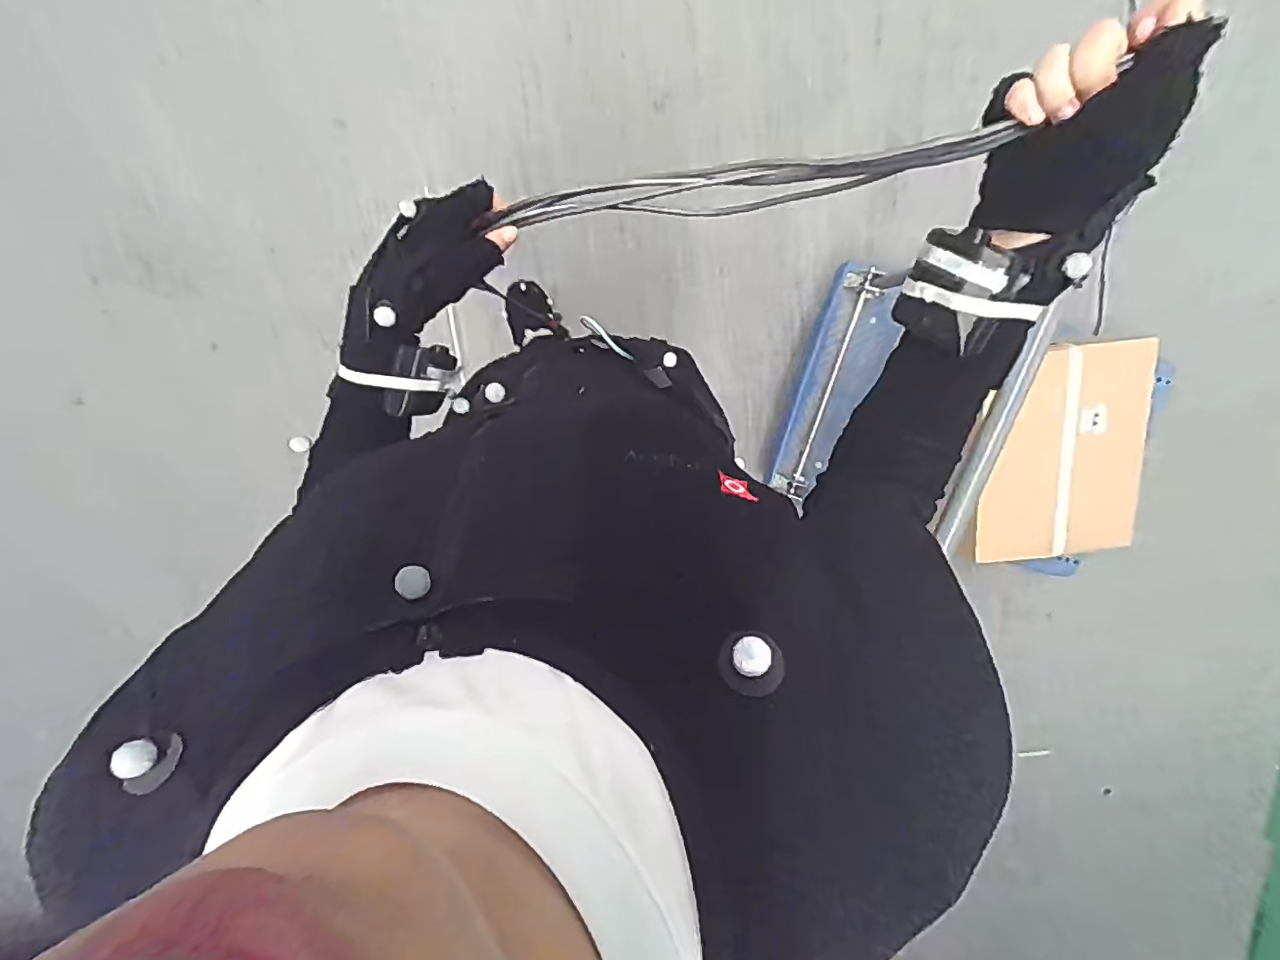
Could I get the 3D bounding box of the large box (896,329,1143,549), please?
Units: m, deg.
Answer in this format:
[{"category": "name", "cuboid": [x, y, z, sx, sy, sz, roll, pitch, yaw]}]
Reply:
[{"category": "large box", "cuboid": [0.778, -0.104, 1.172, 0.320, 0.320, 0.408, -6, 105, -1]}]
